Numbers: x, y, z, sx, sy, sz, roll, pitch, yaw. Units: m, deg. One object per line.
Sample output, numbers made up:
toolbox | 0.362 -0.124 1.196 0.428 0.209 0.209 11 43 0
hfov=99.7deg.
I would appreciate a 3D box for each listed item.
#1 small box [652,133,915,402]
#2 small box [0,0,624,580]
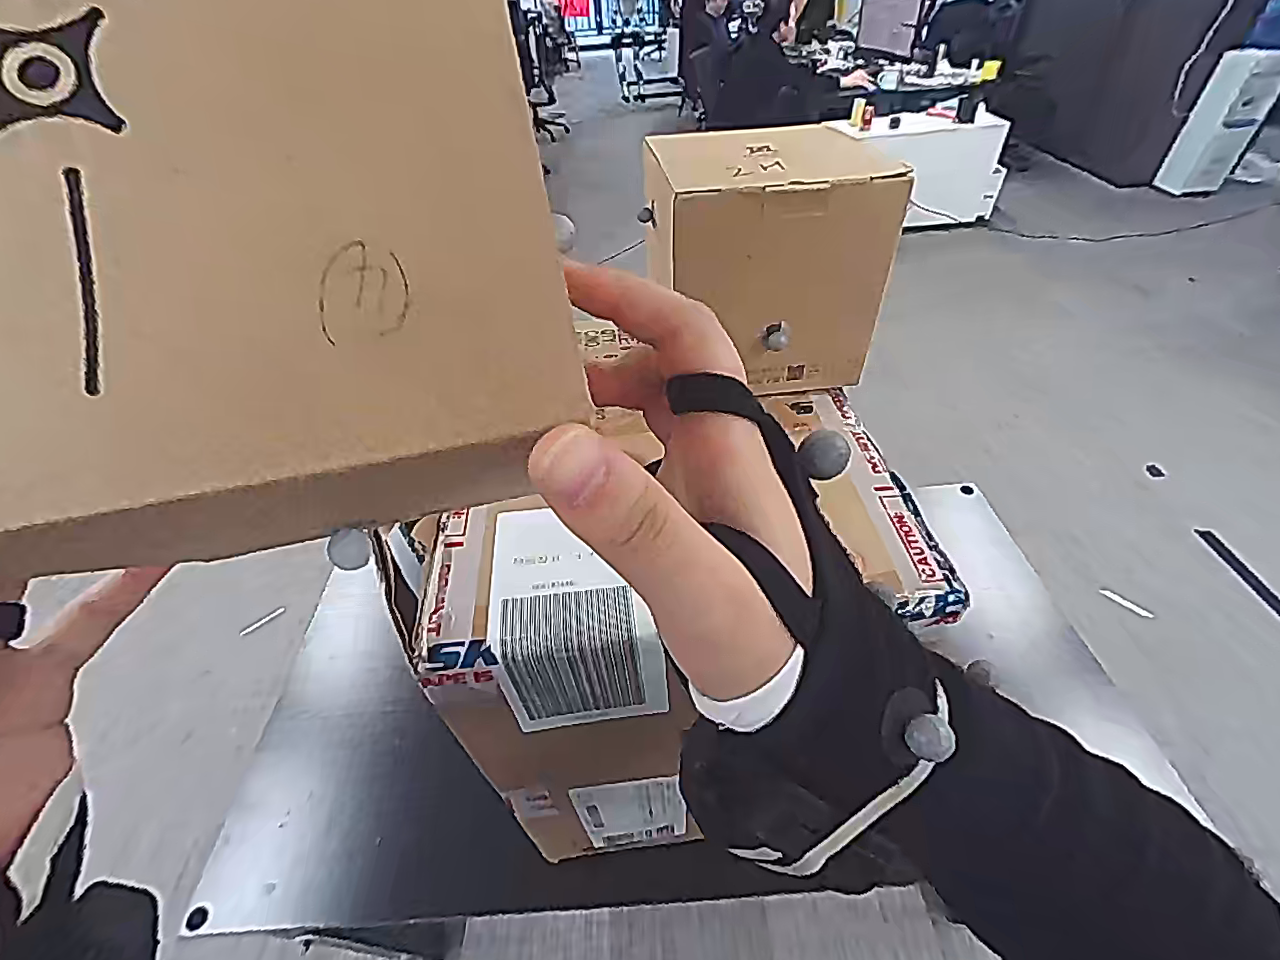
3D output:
small box | 0.100 -0.189 0.476 0.168 0.176 0.179 -6 43 -3
small box | -0.112 -0.068 0.181 0.168 0.176 0.179 -12 87 -10
